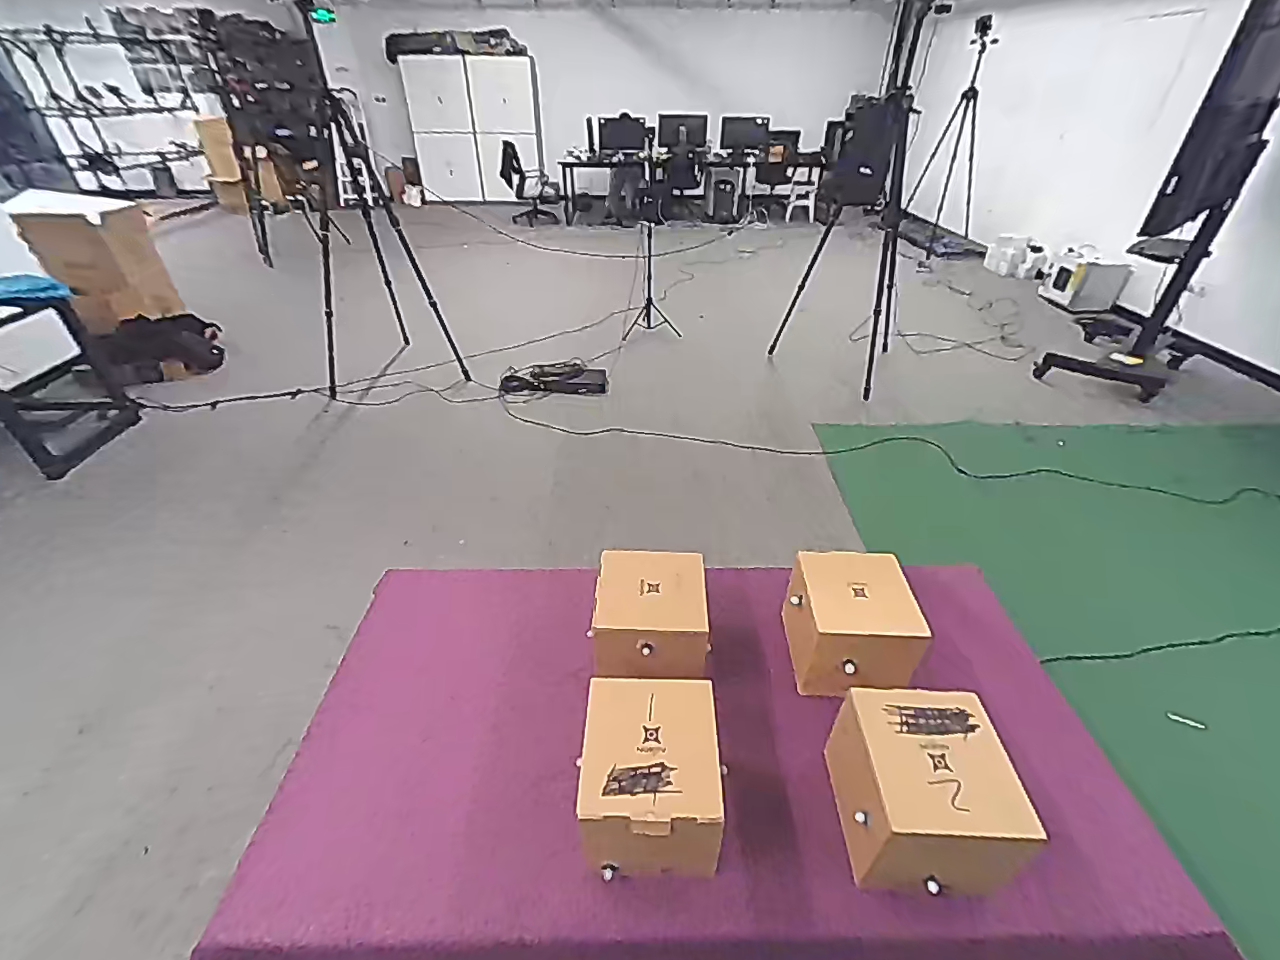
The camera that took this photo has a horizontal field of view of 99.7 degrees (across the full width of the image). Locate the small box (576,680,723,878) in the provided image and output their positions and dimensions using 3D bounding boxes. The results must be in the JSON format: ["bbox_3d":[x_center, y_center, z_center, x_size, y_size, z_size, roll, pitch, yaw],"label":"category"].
[{"bbox_3d":[0.015,0.387,0.703,0.168,0.176,0.179,1,34,1],"label":"small box"}]

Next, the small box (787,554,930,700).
[{"bbox_3d":[0.348,0.243,0.899,0.168,0.176,0.179,1,35,3],"label":"small box"}]

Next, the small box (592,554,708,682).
[{"bbox_3d":[0.020,0.242,0.906,0.179,0.176,0.168,2,36,3],"label":"small box"}]
